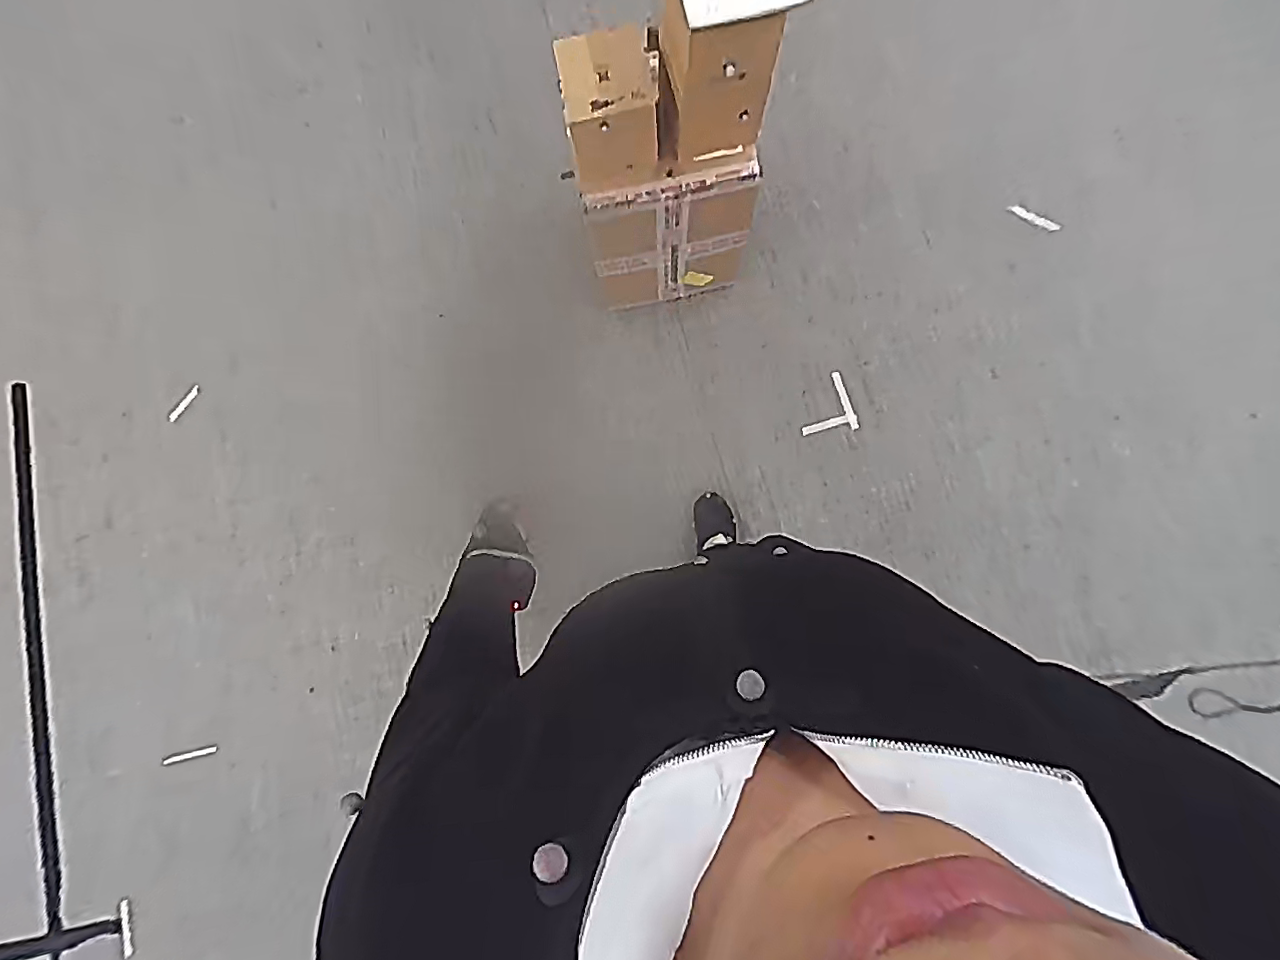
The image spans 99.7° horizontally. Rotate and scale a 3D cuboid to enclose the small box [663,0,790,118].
[{"bbox_3d":[0.136,-0.771,0.925,0.168,0.176,0.179,-12,83,-1],"label":"small box"}]
